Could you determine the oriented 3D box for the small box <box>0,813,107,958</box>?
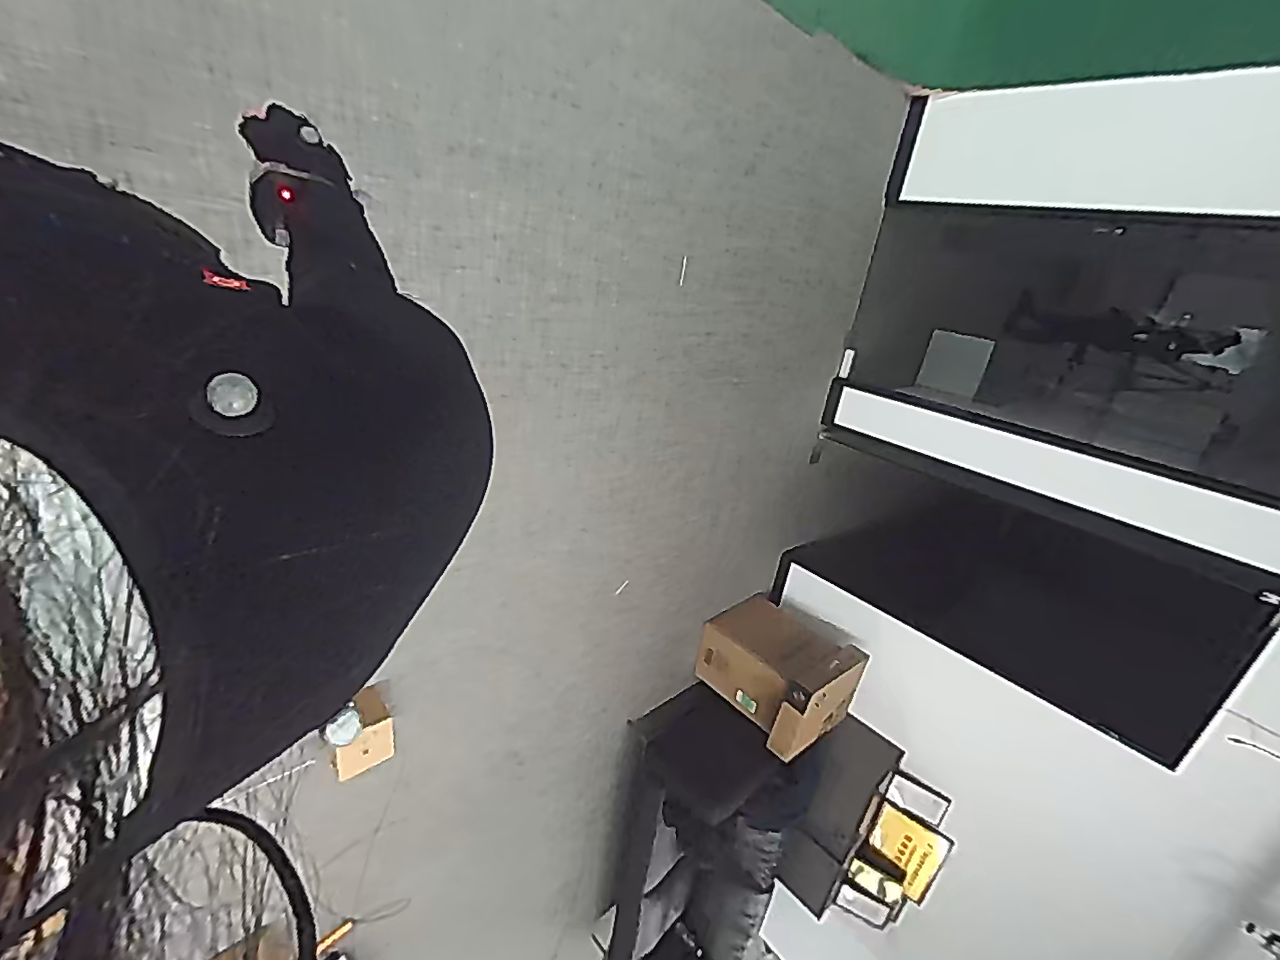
[{"bbox_3d":[-1.405,0.949,1.281,0.179,0.176,0.168,-15,122,-42],"label":"small box"}]

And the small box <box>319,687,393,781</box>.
[{"bbox_3d":[-0.908,0.805,1.730,0.168,0.176,0.179,-15,122,-42],"label":"small box"}]
